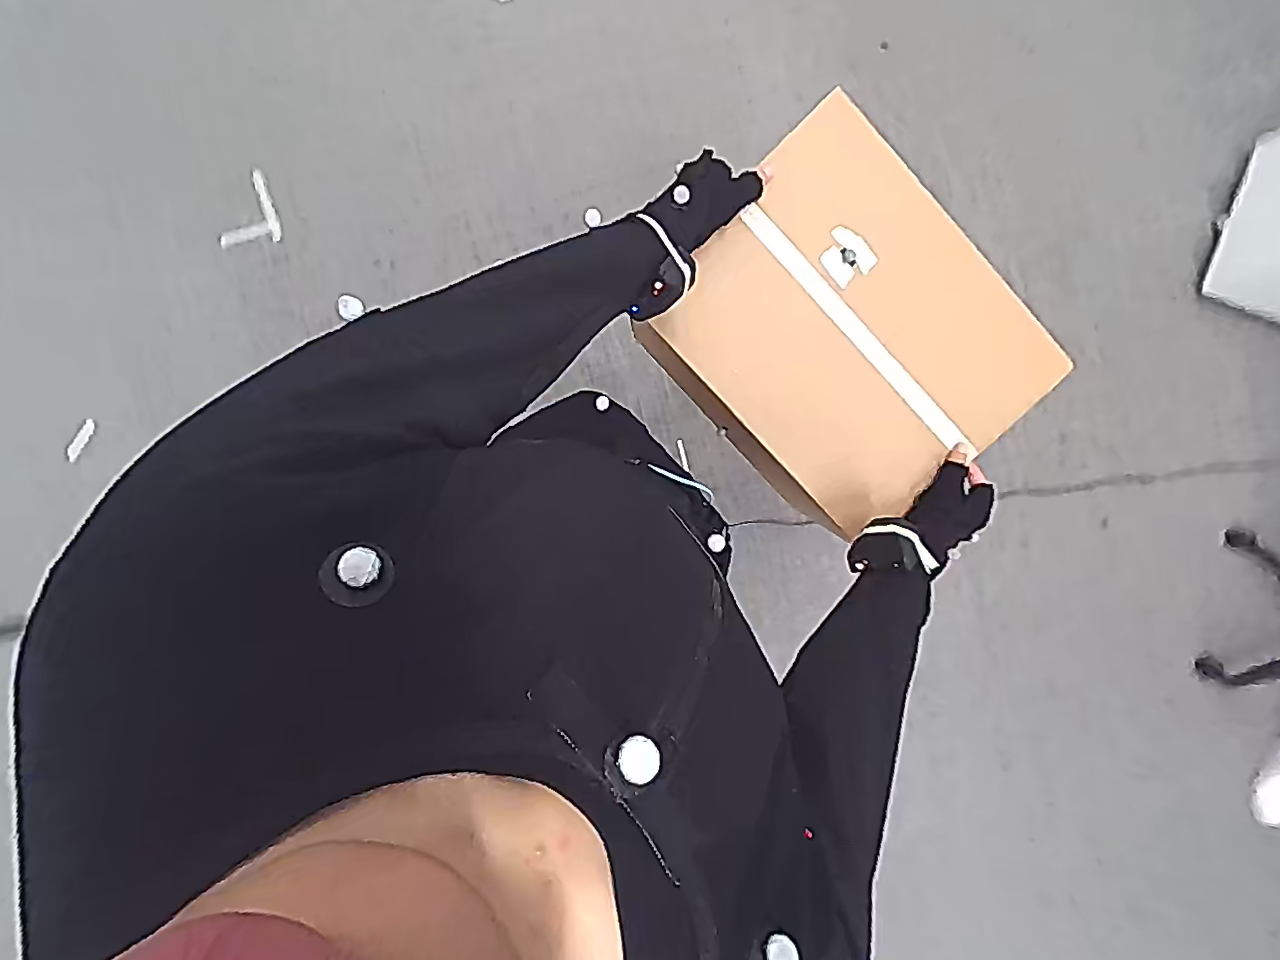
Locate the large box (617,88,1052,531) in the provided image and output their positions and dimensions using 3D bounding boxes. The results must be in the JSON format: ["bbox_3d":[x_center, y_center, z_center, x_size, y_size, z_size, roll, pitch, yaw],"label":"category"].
[{"bbox_3d":[0.223,-0.196,0.754,0.320,0.320,0.408,-44,94,4],"label":"large box"}]
